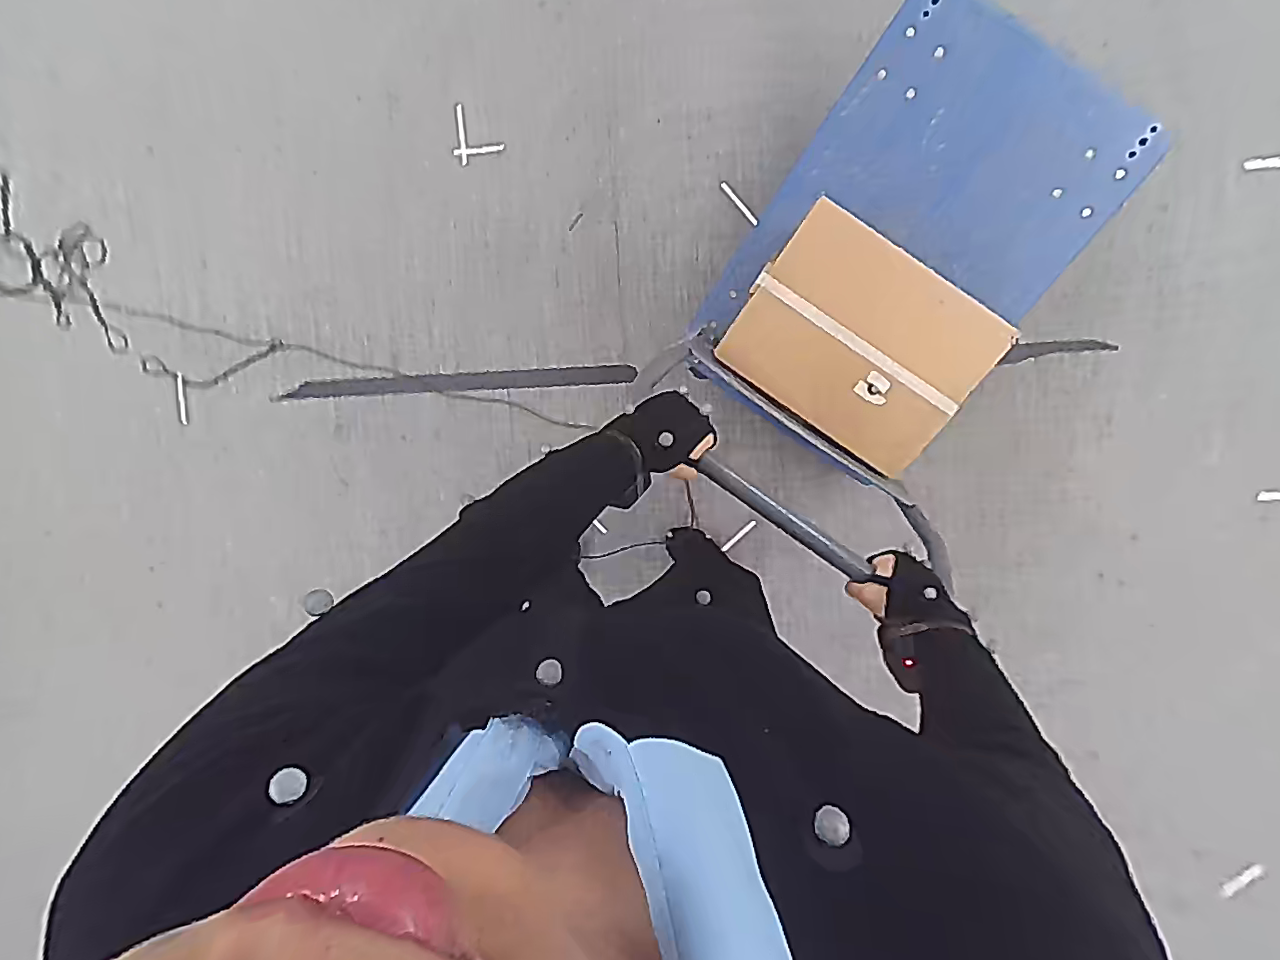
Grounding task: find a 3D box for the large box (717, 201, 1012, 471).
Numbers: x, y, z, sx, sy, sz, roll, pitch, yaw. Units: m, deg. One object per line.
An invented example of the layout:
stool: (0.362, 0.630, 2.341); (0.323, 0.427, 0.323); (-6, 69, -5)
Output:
large box: (0.408, -0.281, 1.096); (0.408, 0.320, 0.320); (35, 108, 0)
